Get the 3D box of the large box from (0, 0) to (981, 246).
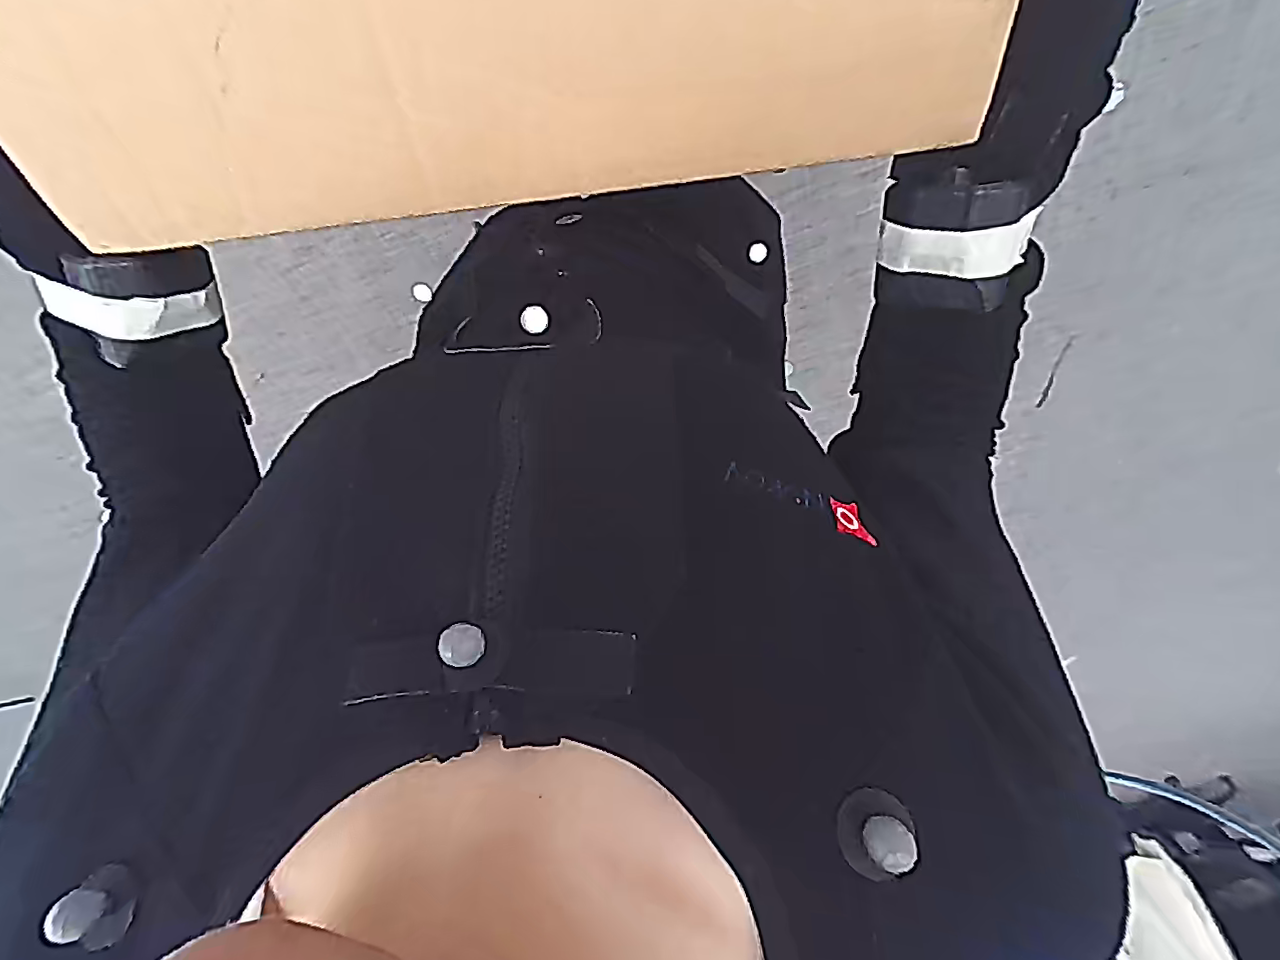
[{"bbox_3d":[-0.080,-0.348,0.251,0.408,0.320,0.320,-6,133,3],"label":"large box"}]
